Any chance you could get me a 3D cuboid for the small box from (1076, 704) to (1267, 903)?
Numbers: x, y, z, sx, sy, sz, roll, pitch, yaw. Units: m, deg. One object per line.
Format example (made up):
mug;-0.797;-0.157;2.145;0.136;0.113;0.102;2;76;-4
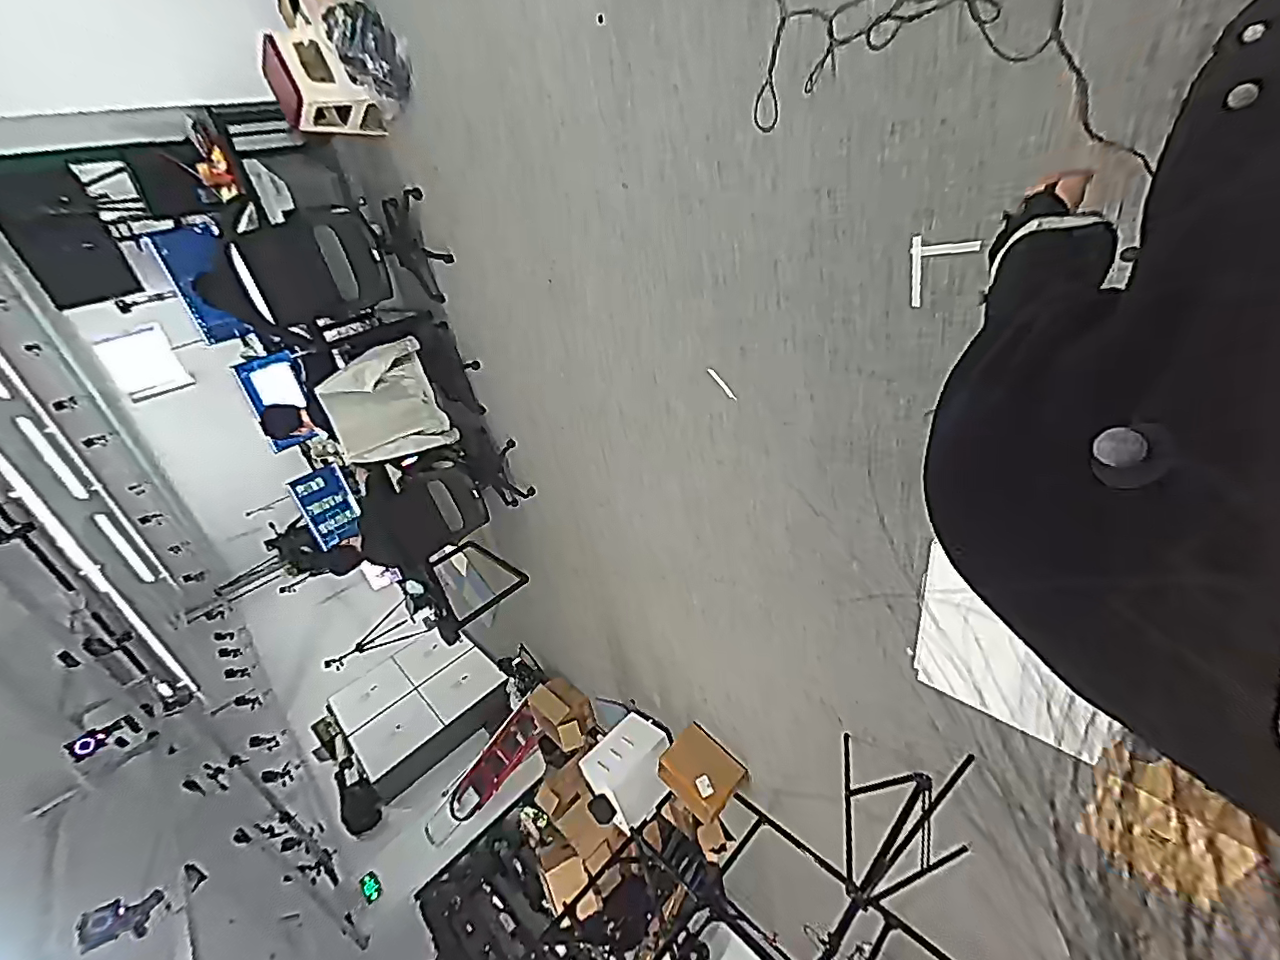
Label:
small box;0.836;0.498;0.855;0.168;0.176;0.179;25;135;40
